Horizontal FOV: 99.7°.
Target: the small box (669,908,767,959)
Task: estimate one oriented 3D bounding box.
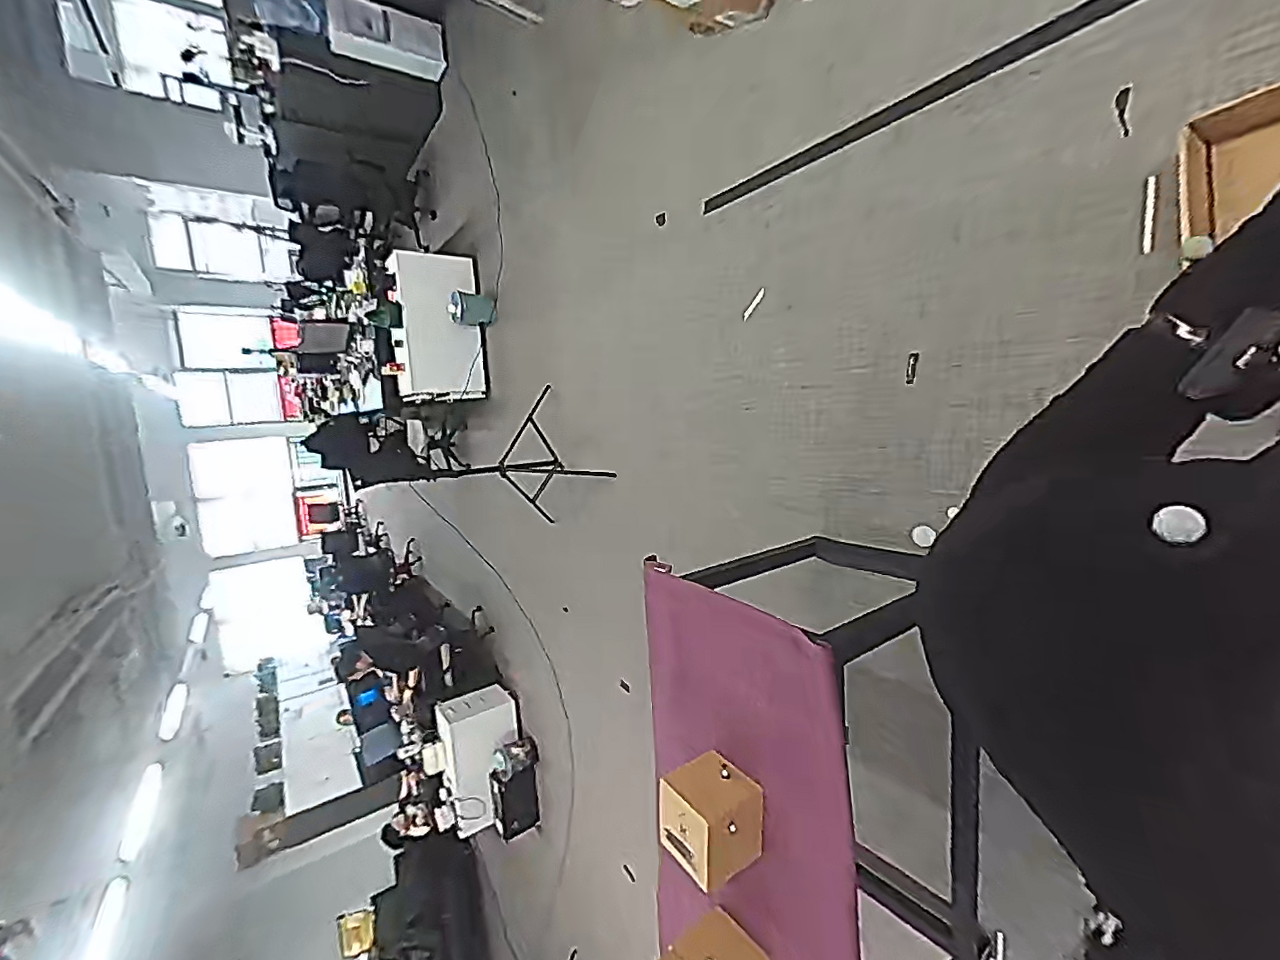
[{"bbox_3d":[0.189,1.178,1.279,0.179,0.176,0.168,8,103,55],"label":"small box"}]
